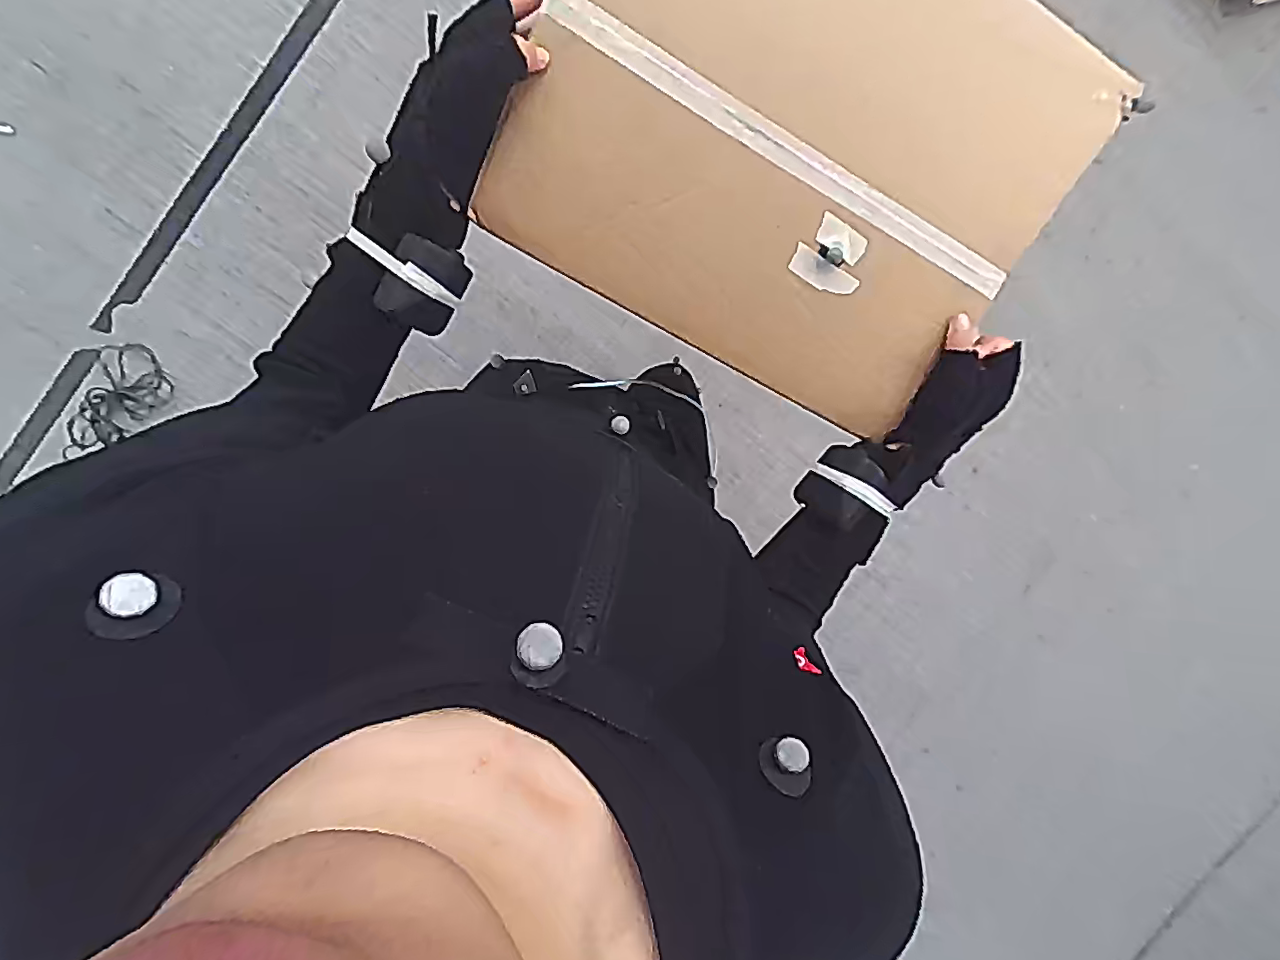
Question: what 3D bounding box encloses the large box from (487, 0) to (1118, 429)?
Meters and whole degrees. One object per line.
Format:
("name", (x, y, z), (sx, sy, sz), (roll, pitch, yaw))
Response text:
("large box", (0.115, -0.310, 0.557), (0.408, 0.320, 0.320), (26, 110, -12))
